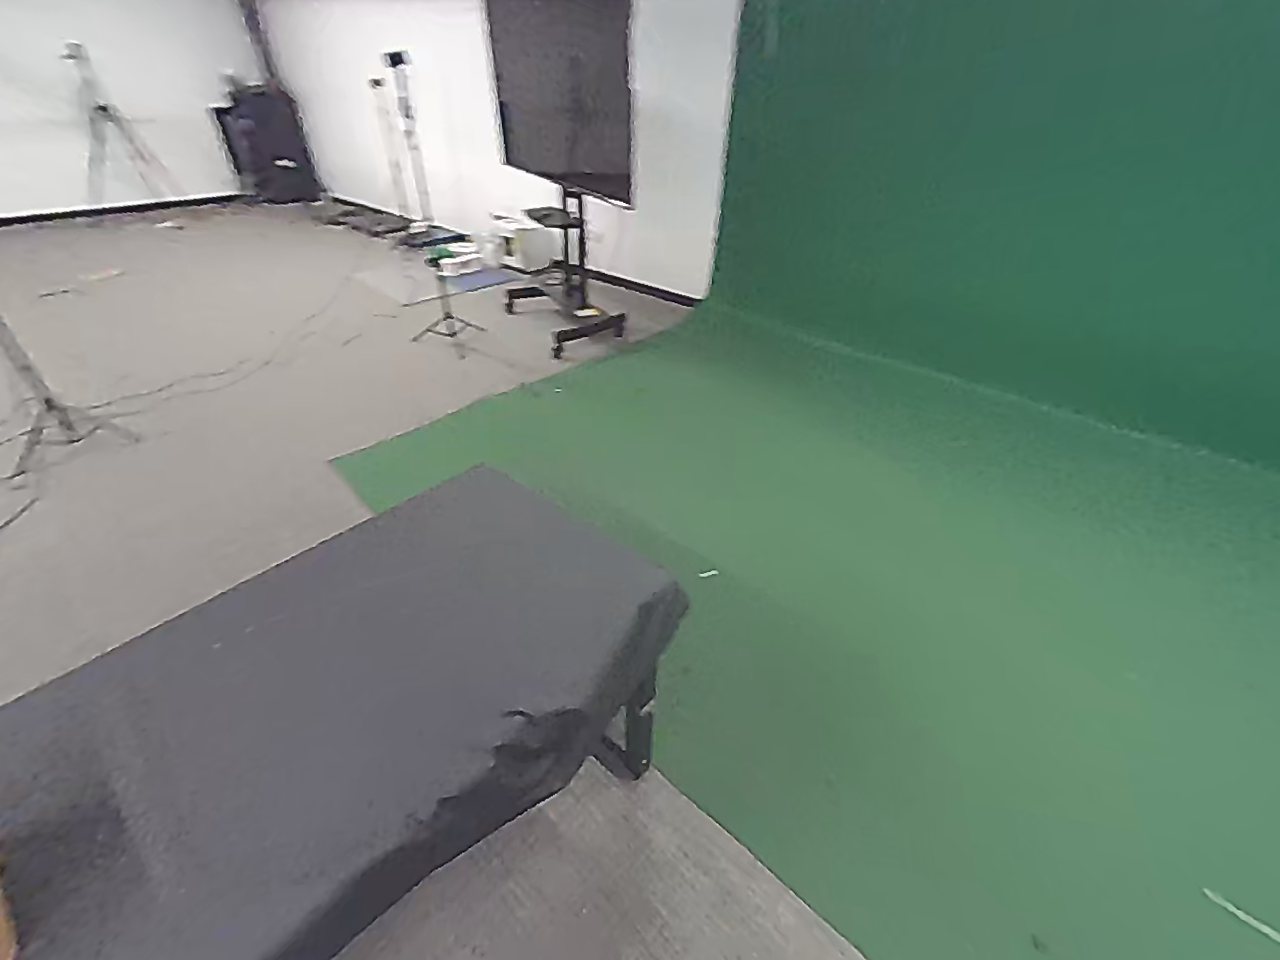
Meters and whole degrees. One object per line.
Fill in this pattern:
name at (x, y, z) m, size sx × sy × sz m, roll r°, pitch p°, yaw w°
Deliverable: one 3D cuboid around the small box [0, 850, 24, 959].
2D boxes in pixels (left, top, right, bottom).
small box at (-0.777, 0.456, 0.532) m, size 0.179 × 0.176 × 0.168 m, roll 26°, pitch 43°, yaw 29°
